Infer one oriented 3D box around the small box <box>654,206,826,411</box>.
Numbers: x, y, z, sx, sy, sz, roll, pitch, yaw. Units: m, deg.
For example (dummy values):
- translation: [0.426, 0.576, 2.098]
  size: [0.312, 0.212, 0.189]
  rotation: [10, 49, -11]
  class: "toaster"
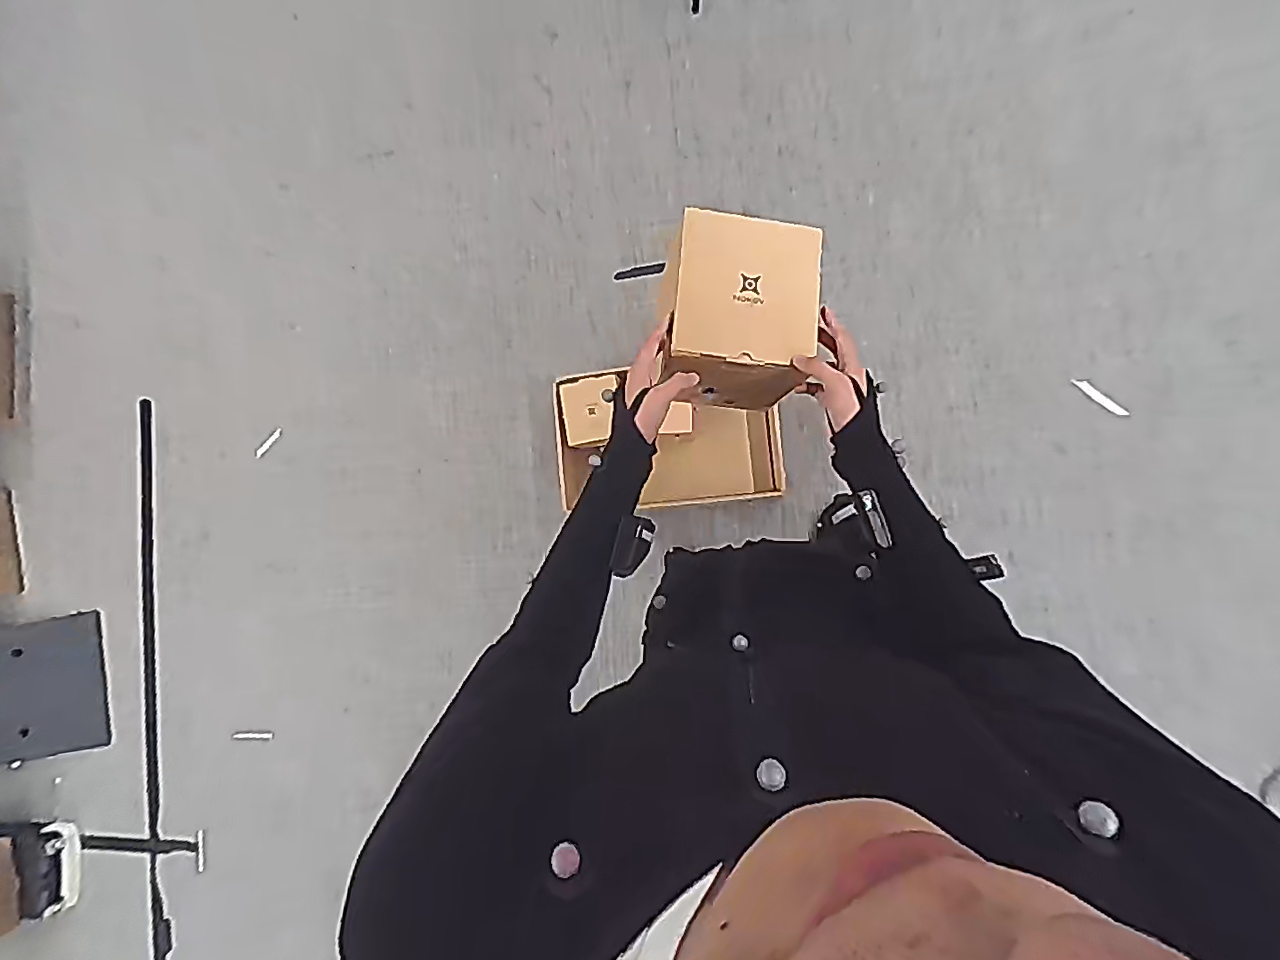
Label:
- translation: [0.115, -0.201, 0.677]
  size: [0.168, 0.176, 0.179]
  rotation: [6, 81, -6]
  class: "small box"
